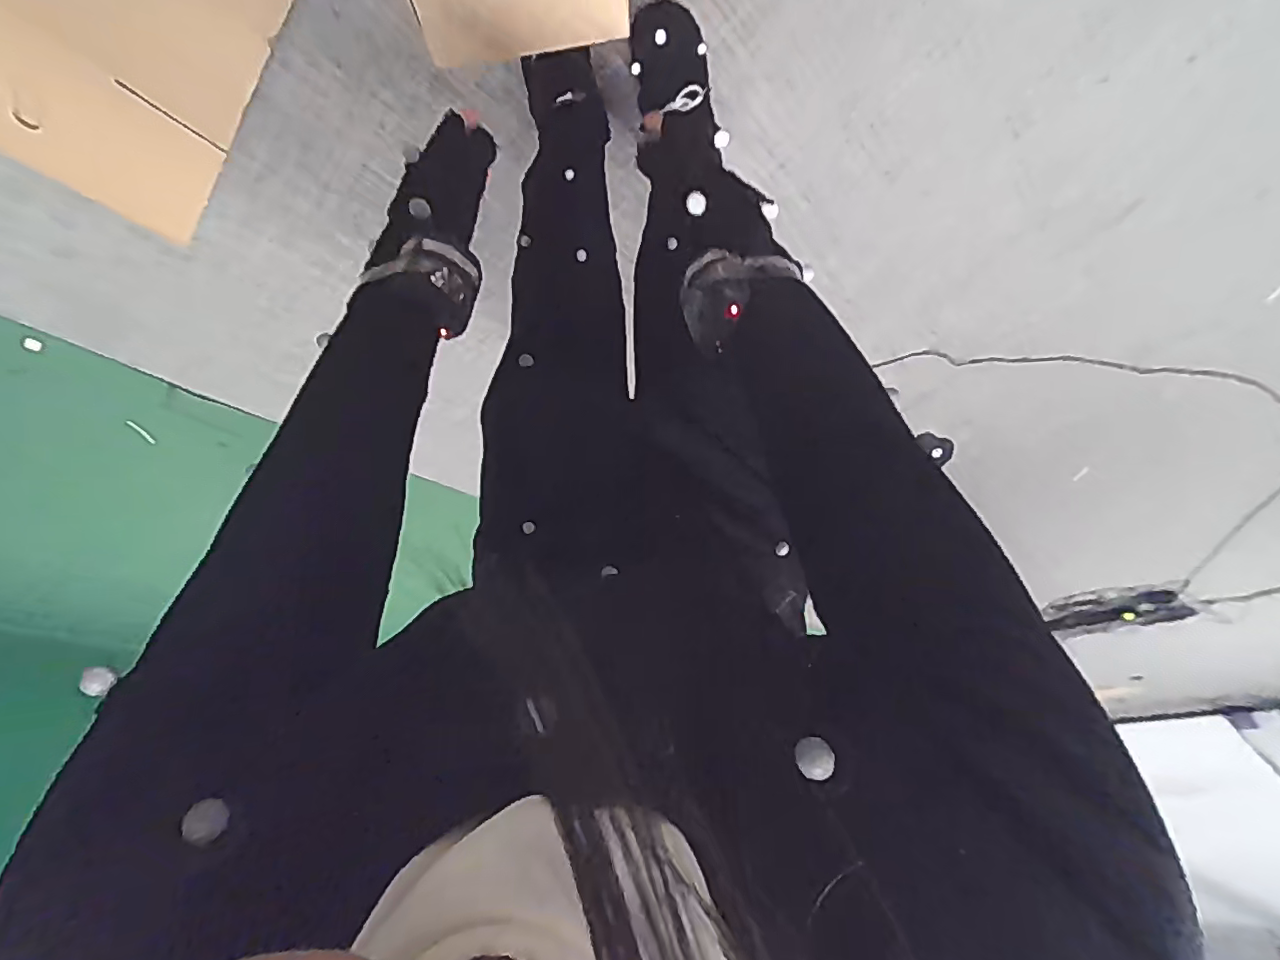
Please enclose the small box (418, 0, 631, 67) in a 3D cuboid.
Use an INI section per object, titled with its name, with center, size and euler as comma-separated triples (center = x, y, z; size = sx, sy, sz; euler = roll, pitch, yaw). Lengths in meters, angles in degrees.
[small box]
center = -0.106, -0.489, 0.451
size = 0.179, 0.176, 0.168
euler = -7, 147, 8
